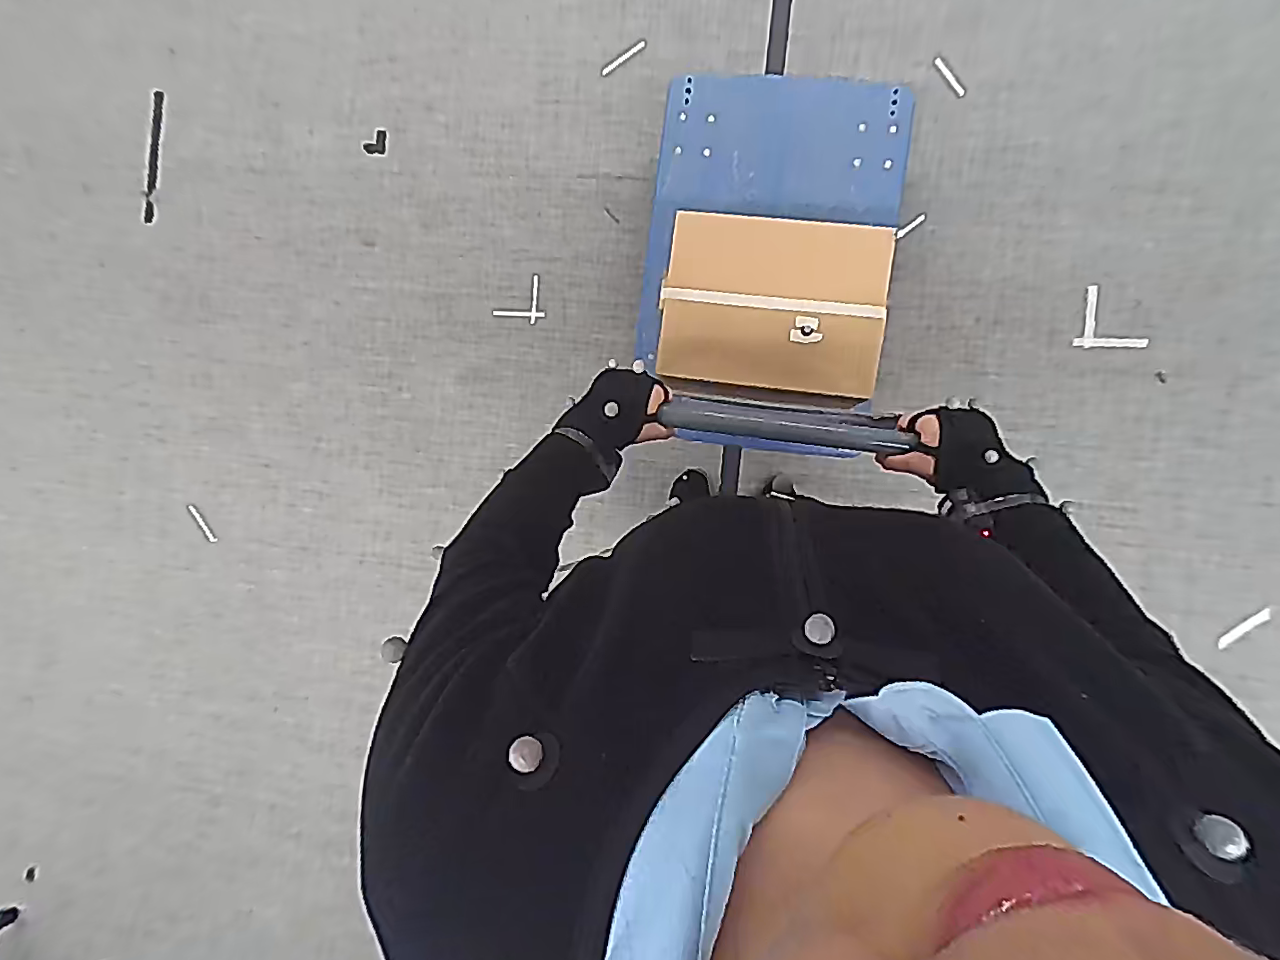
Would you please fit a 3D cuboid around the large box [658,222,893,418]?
[{"bbox_3d":[0.259,-0.315,1.148,0.408,0.320,0.320,7,93,6],"label":"large box"}]
